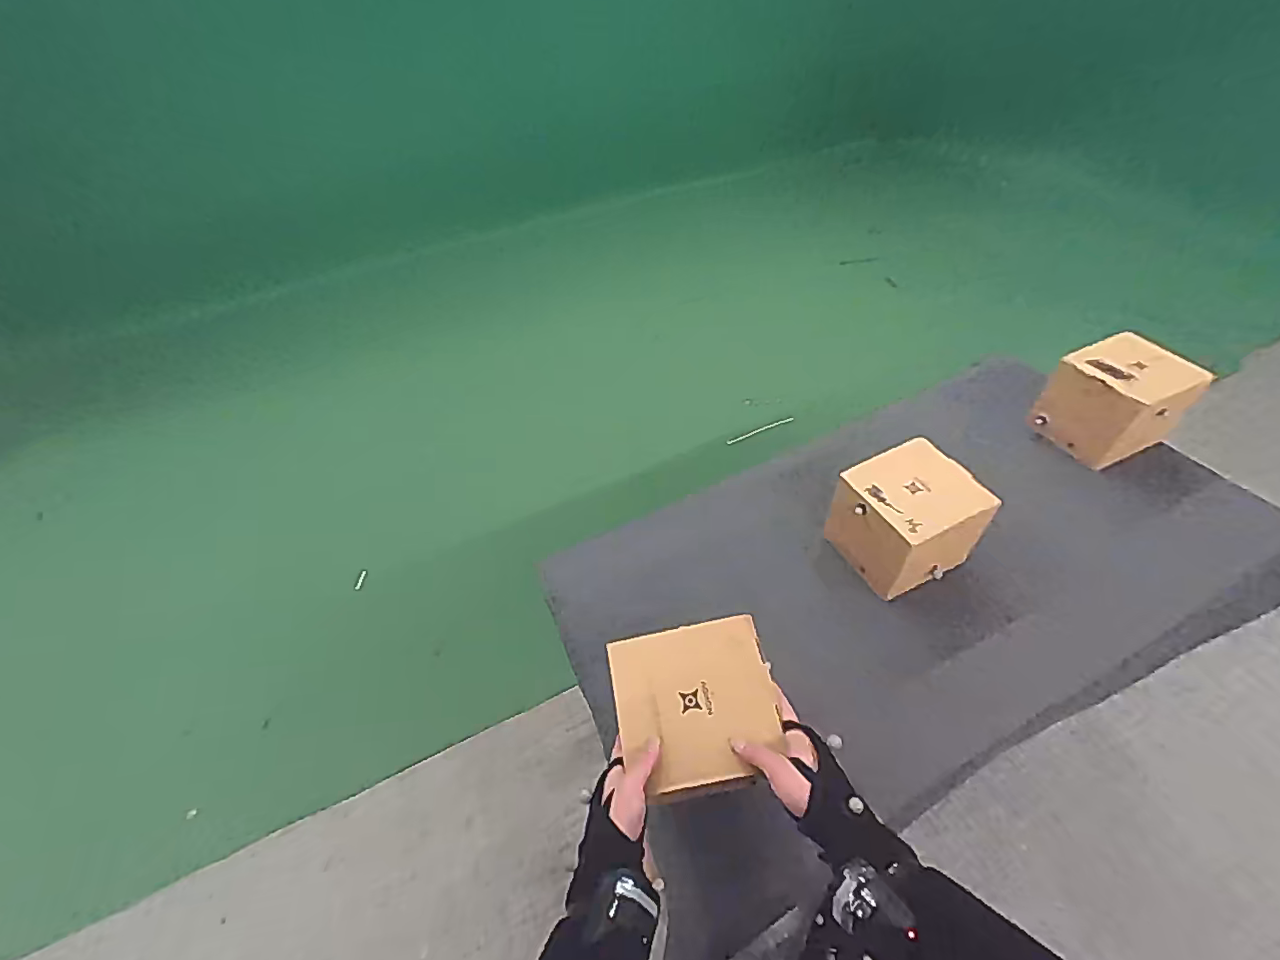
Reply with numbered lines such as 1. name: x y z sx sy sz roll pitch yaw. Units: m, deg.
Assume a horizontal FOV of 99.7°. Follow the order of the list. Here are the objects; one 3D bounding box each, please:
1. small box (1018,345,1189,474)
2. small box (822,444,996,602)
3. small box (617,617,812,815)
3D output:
1. small box: 0.905 -0.138 1.081 0.179 0.176 0.168 -20 49 -15
2. small box: 0.438 0.073 0.912 0.179 0.176 0.168 -21 49 -17
3. small box: 0.079 0.281 0.636 0.179 0.176 0.168 -12 55 -1
